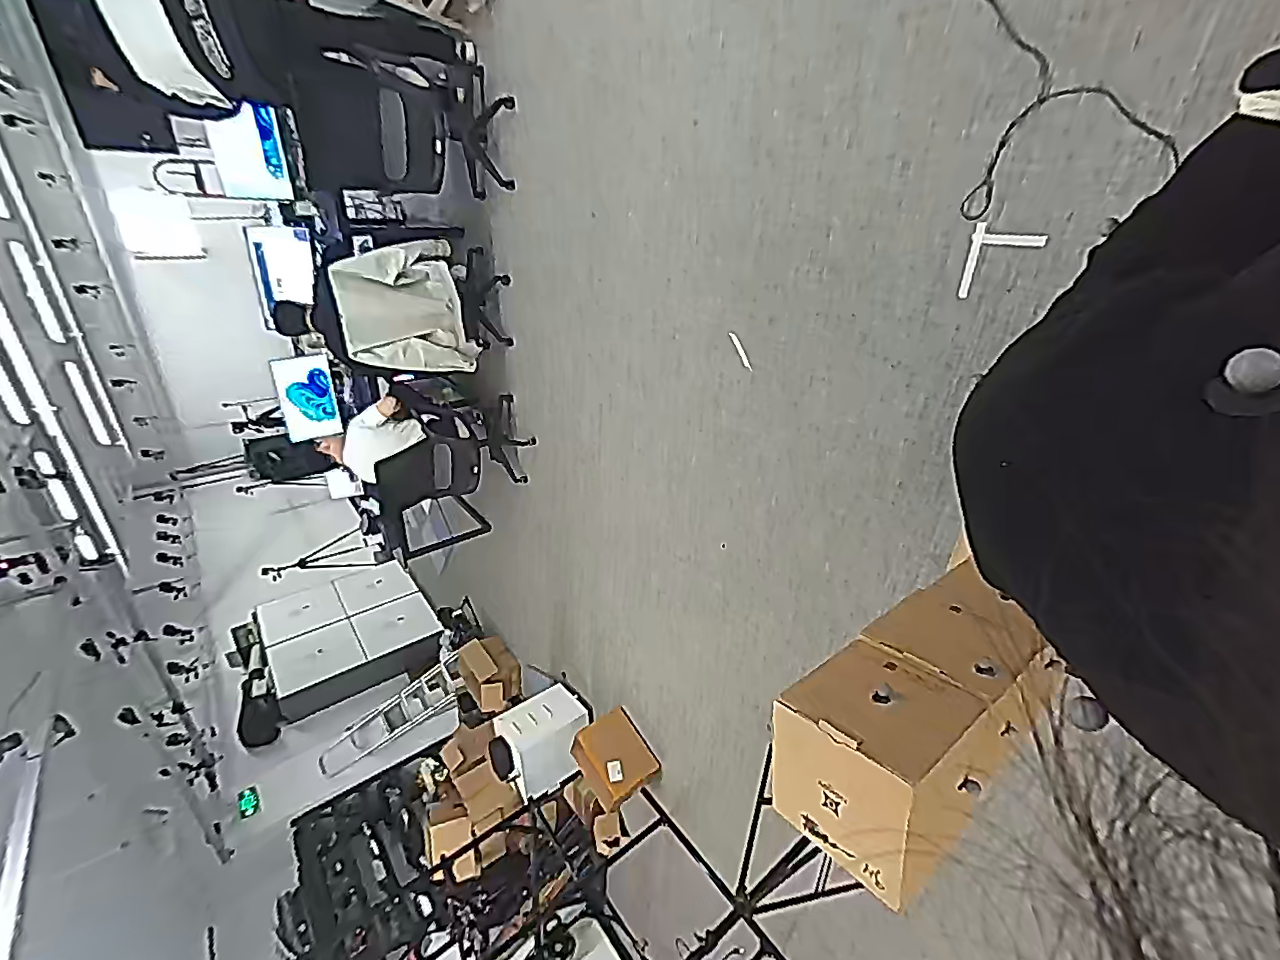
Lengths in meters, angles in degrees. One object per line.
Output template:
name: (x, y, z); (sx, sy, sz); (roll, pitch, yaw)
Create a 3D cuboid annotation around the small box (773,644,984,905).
small box: (0.280, 0.326, 0.641); (0.168, 0.176, 0.179); (20, 119, 50)

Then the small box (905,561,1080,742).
small box: (0.537, 0.247, 0.829); (0.168, 0.176, 0.179); (24, 123, 48)
